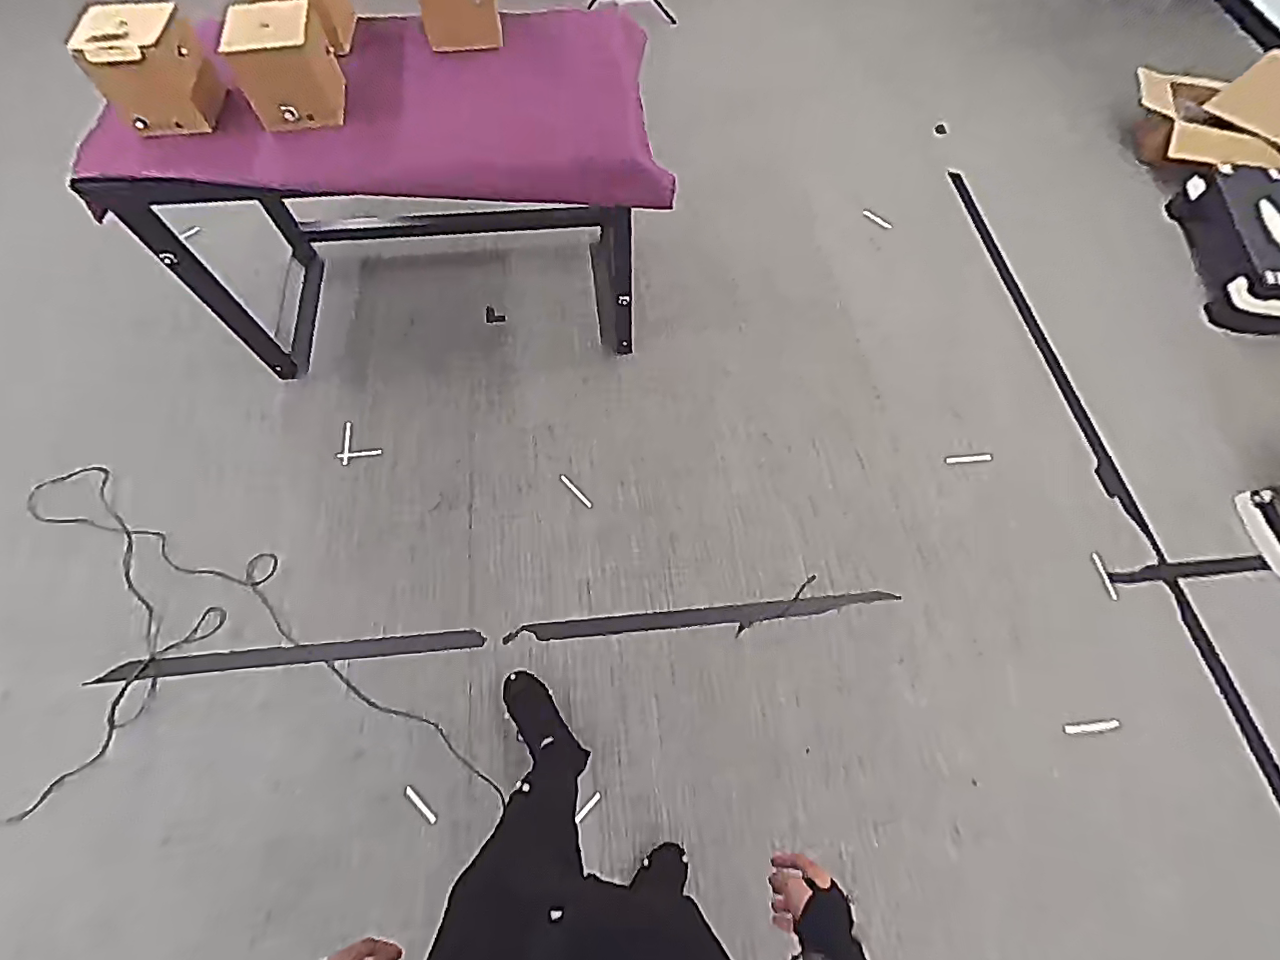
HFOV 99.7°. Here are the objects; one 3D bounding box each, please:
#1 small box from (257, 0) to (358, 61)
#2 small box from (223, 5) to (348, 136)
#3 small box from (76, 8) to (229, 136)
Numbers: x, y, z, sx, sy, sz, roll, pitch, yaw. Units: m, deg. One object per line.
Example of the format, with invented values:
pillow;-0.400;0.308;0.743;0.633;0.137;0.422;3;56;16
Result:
small box;-0.806;-1.156;1.305;0.168;0.176;0.179;-3;66;-3
small box;-0.768;-0.899;1.193;0.168;0.176;0.179;-10;66;-5
small box;-1.041;-0.876;1.174;0.168;0.176;0.179;-6;64;-5
